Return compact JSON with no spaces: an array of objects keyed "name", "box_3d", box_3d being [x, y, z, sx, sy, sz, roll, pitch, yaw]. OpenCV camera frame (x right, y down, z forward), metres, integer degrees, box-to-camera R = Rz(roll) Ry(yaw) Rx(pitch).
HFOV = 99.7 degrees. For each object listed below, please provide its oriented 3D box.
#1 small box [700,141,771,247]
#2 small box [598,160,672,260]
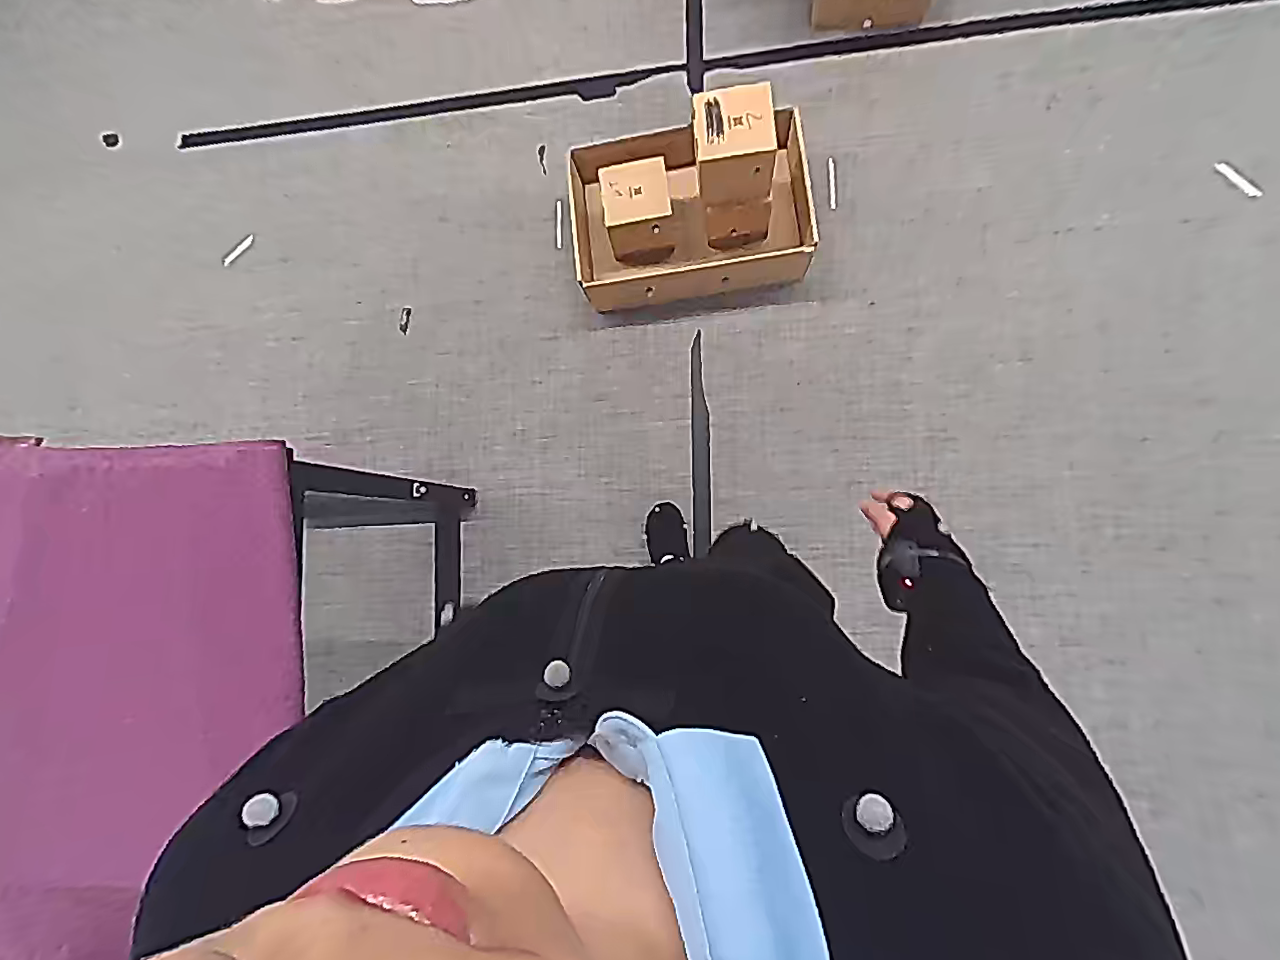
[{"name":"small box","box_3d":[0.250,-0.754,1.439,0.168,0.176,0.179,-7,83,8]},{"name":"small box","box_3d":[-0.006,-0.724,1.466,0.179,0.176,0.168,-8,82,5]}]
